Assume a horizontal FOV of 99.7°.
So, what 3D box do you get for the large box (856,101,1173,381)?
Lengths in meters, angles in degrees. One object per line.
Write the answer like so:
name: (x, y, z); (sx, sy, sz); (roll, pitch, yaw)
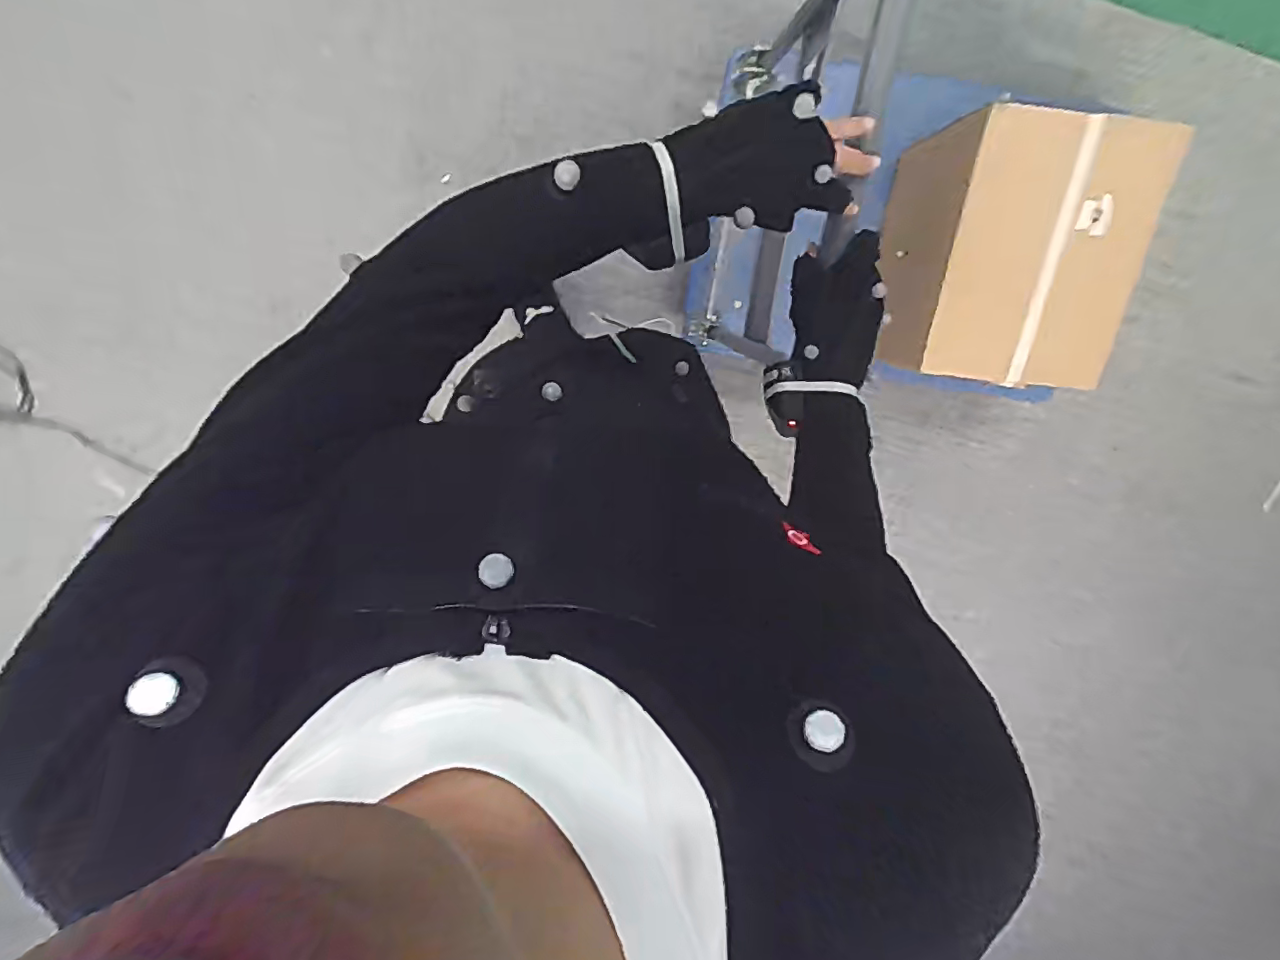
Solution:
large box: (0.647, -0.415, 1.021); (0.320, 0.320, 0.408); (5, 108, -3)
